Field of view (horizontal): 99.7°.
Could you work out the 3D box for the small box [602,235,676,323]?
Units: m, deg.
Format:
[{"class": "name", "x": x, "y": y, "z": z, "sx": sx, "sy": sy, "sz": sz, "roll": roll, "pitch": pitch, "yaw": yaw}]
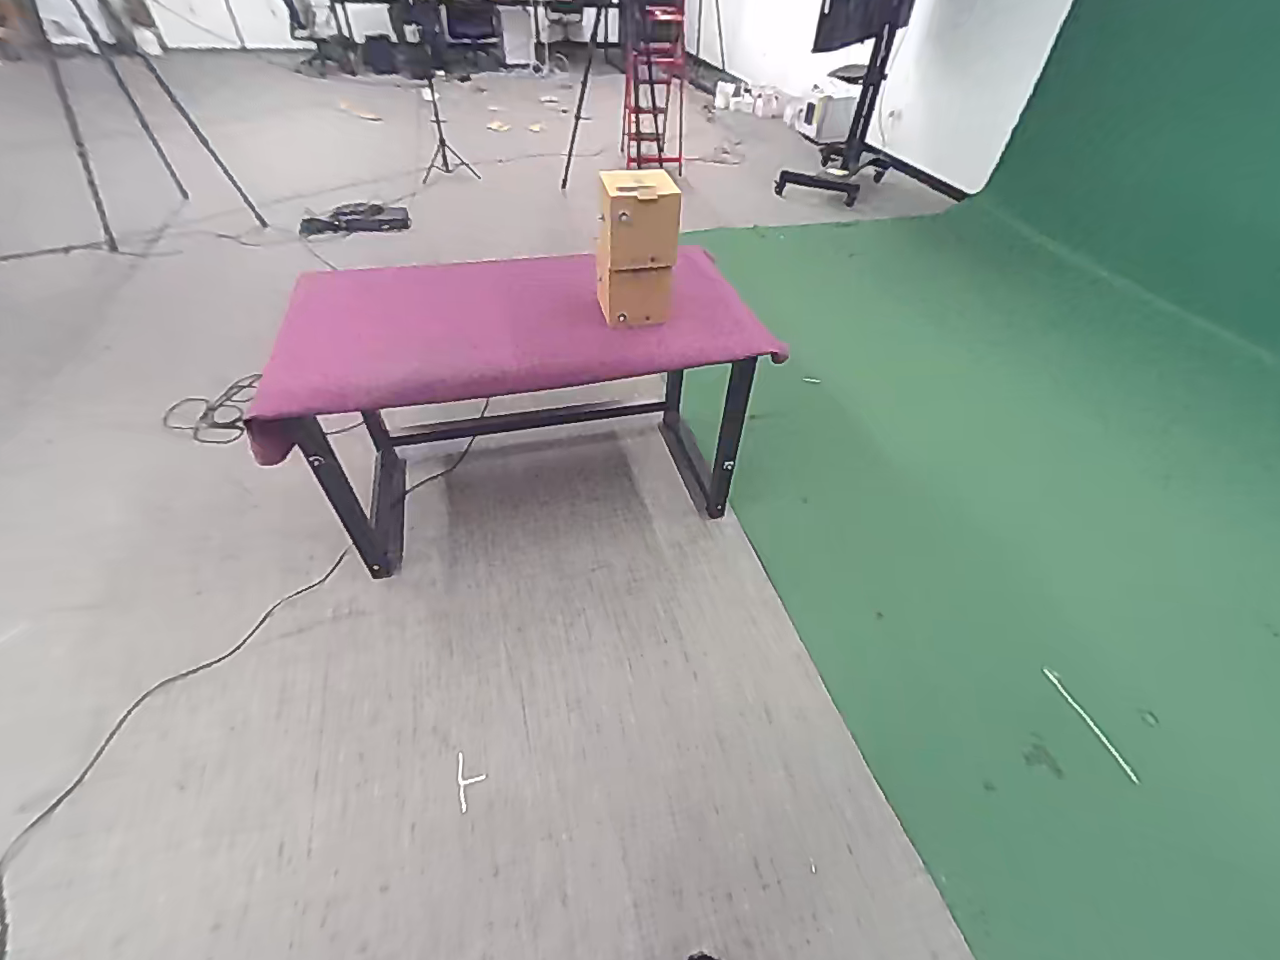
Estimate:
[{"class": "small box", "x": -0.009, "y": -0.527, "z": 1.430, "sx": 0.168, "sy": 0.176, "sz": 0.179, "roll": -5, "pitch": 47, "yaw": -10}]
